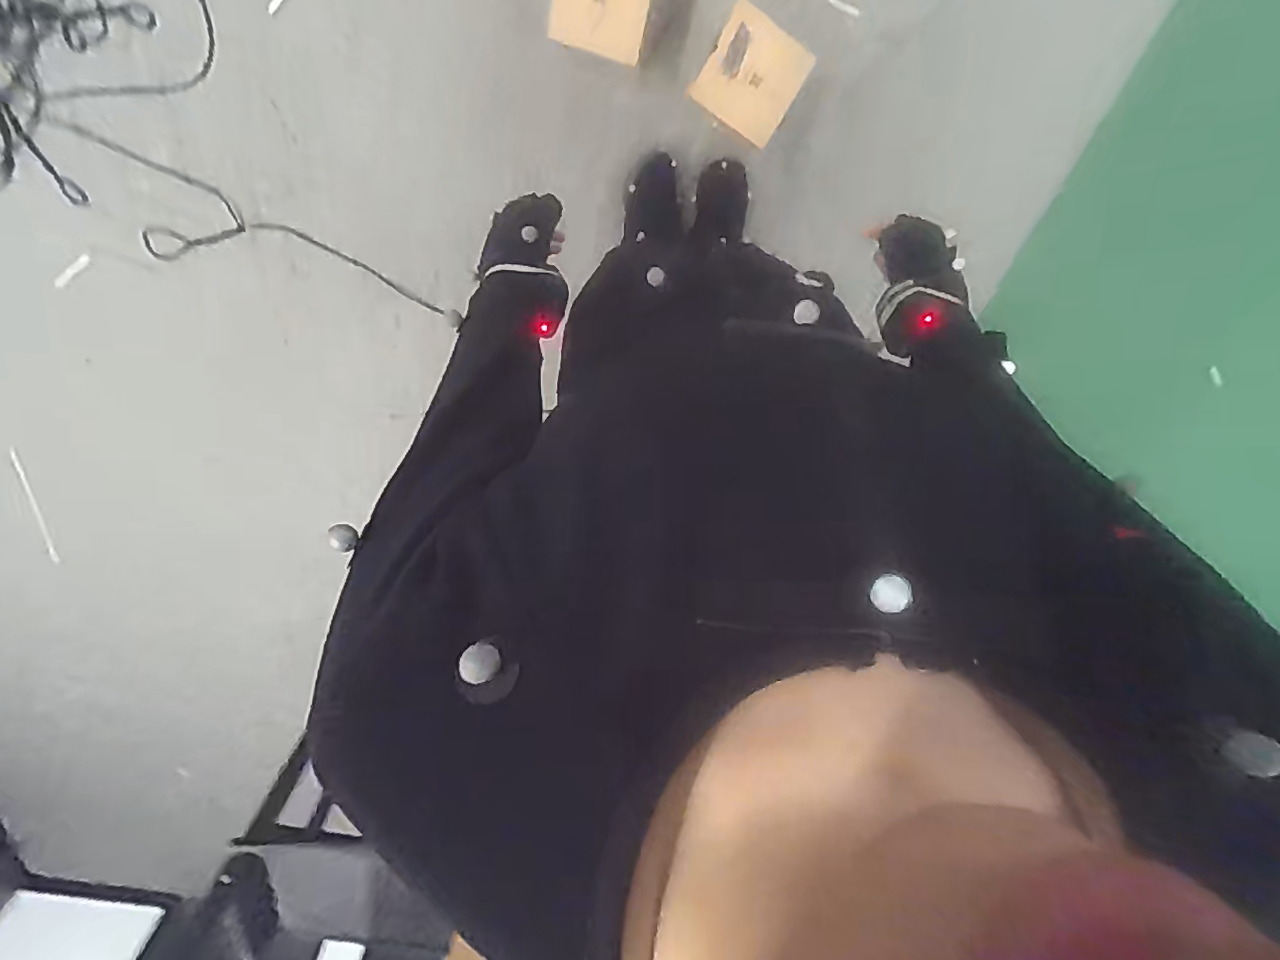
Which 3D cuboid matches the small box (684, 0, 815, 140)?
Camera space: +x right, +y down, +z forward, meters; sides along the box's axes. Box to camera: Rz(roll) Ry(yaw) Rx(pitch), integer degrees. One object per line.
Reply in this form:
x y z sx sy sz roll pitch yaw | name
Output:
0.199 -0.788 1.045 0.179 0.176 0.168 26 120 -16 | small box
